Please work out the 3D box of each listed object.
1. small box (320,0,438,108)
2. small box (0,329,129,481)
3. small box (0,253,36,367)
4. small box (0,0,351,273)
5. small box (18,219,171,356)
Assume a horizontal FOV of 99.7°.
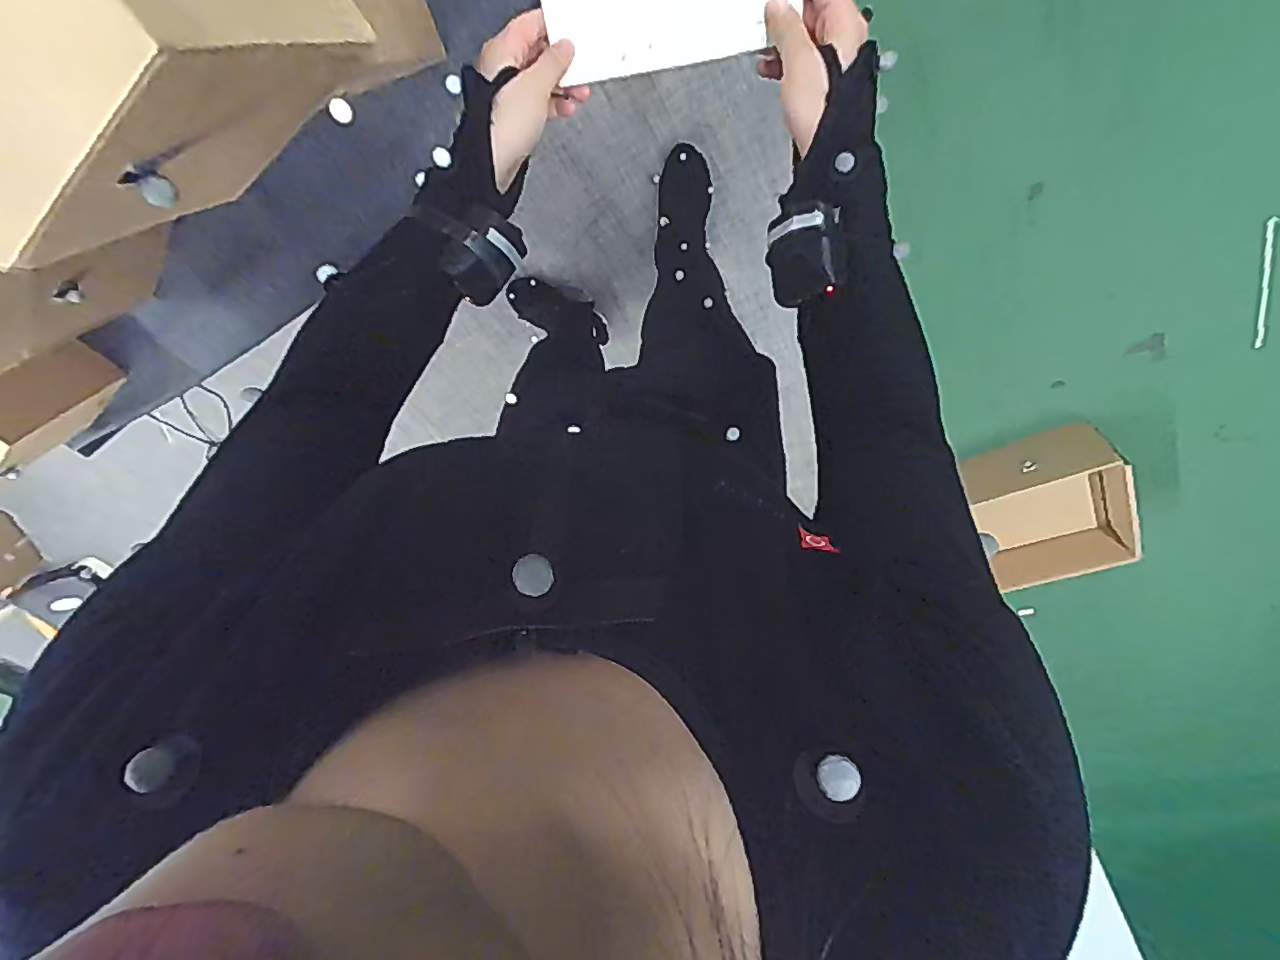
[{"bbox_3d":[-0.277,-0.366,0.375,0.168,0.176,0.179,-7,130,16],"label":"small box"},{"bbox_3d":[-0.821,-0.120,0.678,0.168,0.176,0.179,-26,123,28],"label":"small box"},{"bbox_3d":[-0.620,-0.152,0.401,0.168,0.176,0.179,39,126,-24],"label":"small box"},{"bbox_3d":[-0.282,-0.244,0.266,0.179,0.176,0.168,-22,124,26],"label":"small box"},{"bbox_3d":[-0.603,-0.262,0.521,0.168,0.176,0.179,36,127,-23],"label":"small box"}]
